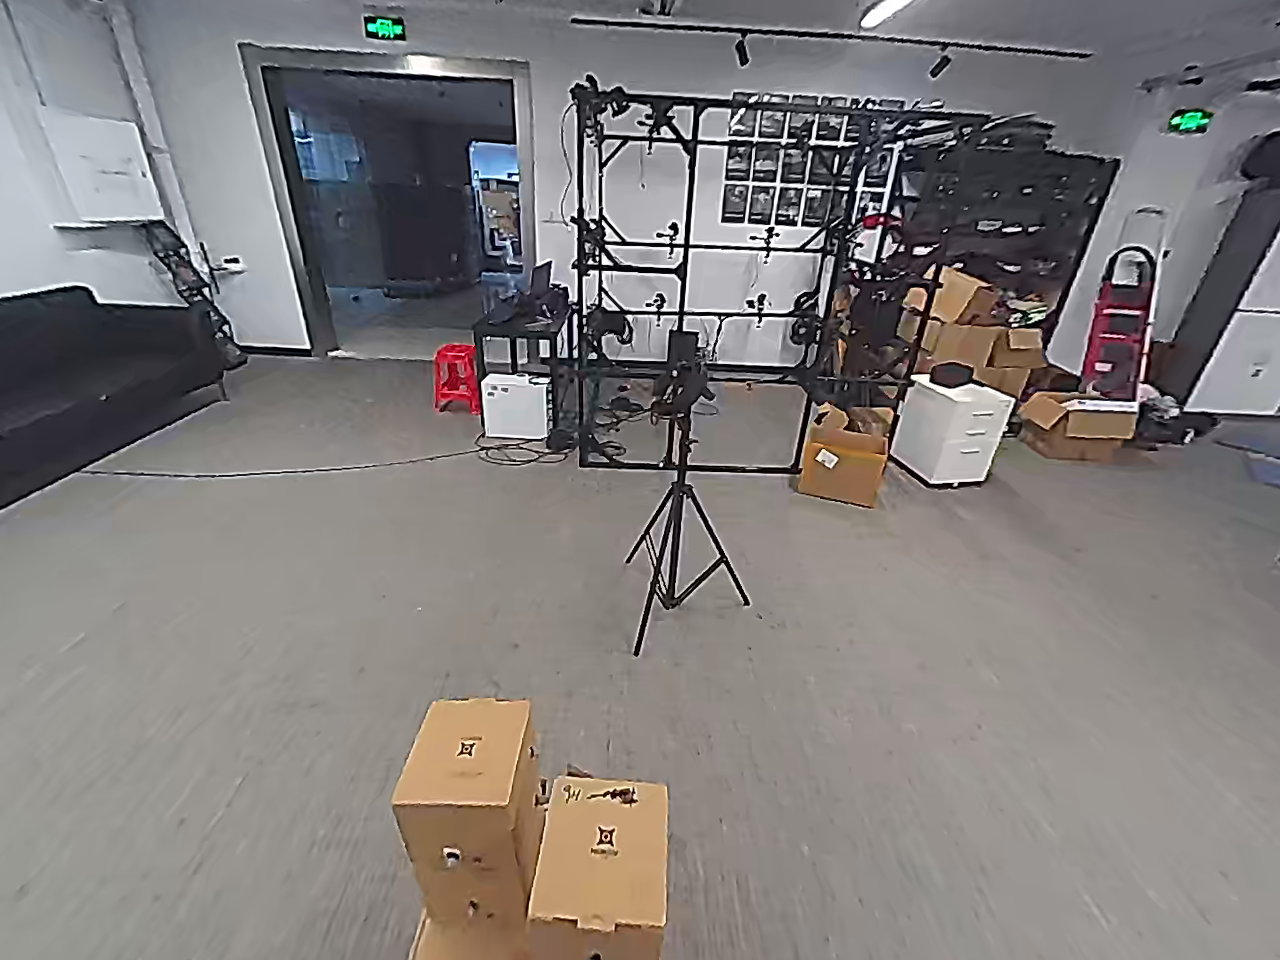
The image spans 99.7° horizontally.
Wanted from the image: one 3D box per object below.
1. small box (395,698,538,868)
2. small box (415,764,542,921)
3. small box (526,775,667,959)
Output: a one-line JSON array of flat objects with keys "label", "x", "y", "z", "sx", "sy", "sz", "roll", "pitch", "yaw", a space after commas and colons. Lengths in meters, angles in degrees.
[{"label": "small box", "x": -0.259, "y": 0.474, "z": 0.856, "sx": 0.168, "sy": 0.176, "sz": 0.179, "roll": 0, "pitch": 29, "yaw": 0}, {"label": "small box", "x": -0.266, "y": 0.617, "z": 0.935, "sx": 0.168, "sy": 0.176, "sz": 0.179, "roll": 1, "pitch": 29, "yaw": 0}, {"label": "small box", "x": -0.051, "y": 0.545, "z": 0.746, "sx": 0.168, "sy": 0.176, "sz": 0.179, "roll": 4, "pitch": 29, "yaw": 1}]
